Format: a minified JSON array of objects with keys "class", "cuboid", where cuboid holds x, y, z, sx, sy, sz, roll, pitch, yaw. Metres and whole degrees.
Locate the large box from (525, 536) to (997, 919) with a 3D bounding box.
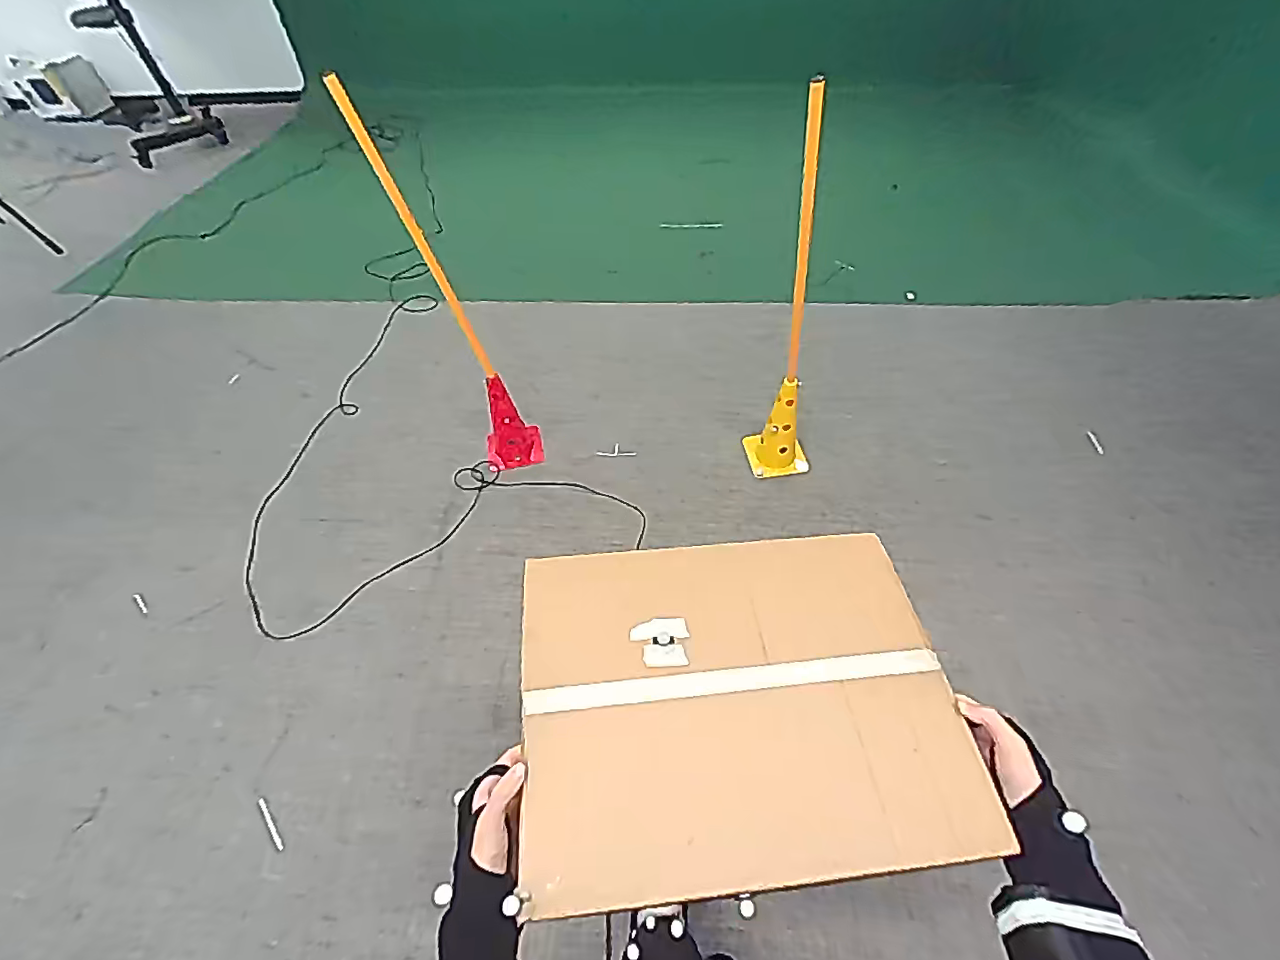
[{"class":"large box","cuboid":[0.089,0.294,0.645,0.408,0.320,0.320,-5,51,-5]}]
